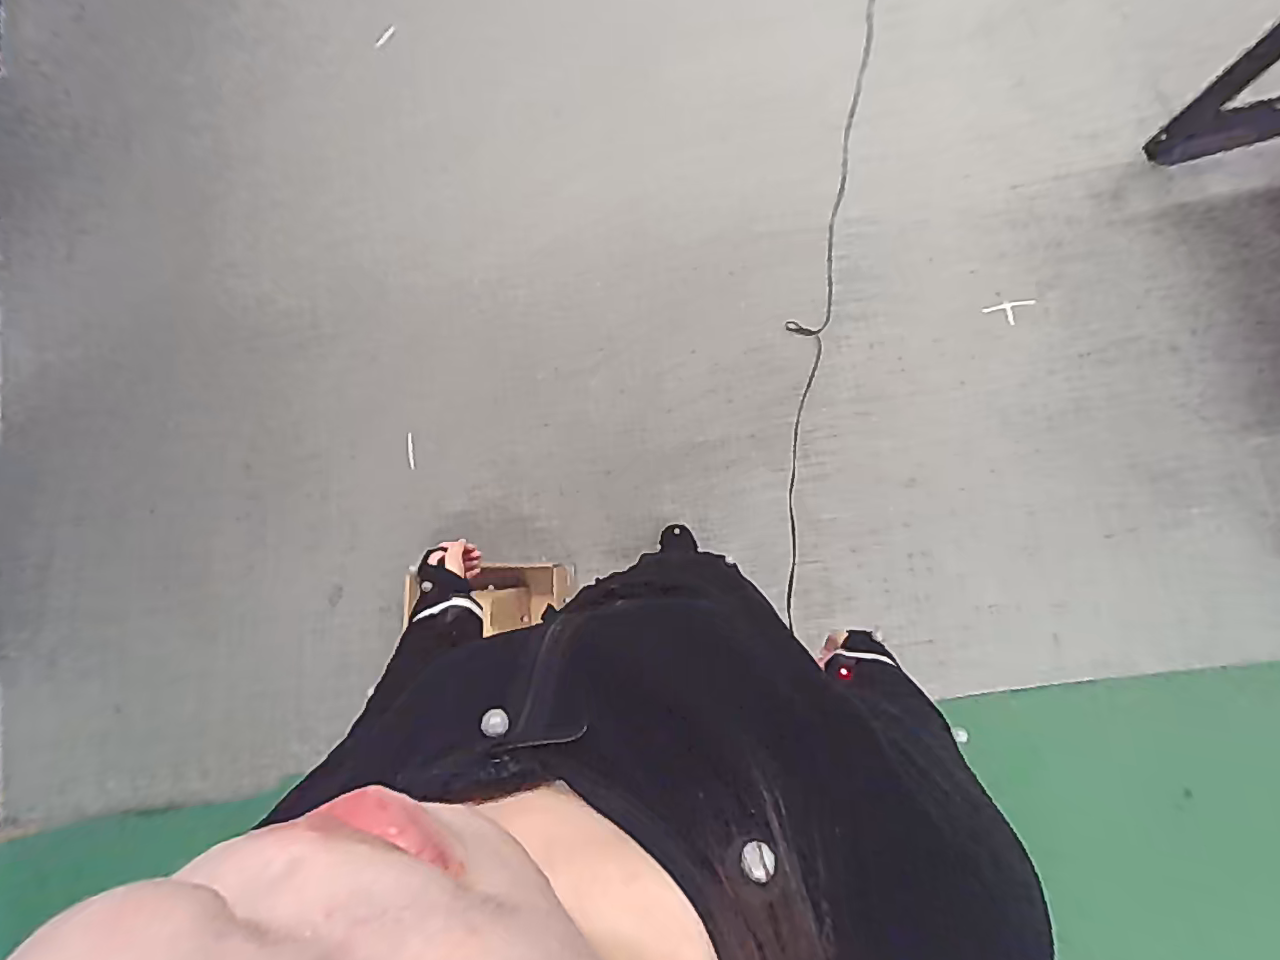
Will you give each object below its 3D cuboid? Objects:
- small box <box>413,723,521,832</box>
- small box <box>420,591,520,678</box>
[{"bbox_3d":[-0.380,0.654,1.209,0.179,0.176,0.168,-1,82,5],"label":"small box"},{"bbox_3d":[-0.383,0.349,1.241,0.179,0.176,0.168,-3,84,7],"label":"small box"}]
